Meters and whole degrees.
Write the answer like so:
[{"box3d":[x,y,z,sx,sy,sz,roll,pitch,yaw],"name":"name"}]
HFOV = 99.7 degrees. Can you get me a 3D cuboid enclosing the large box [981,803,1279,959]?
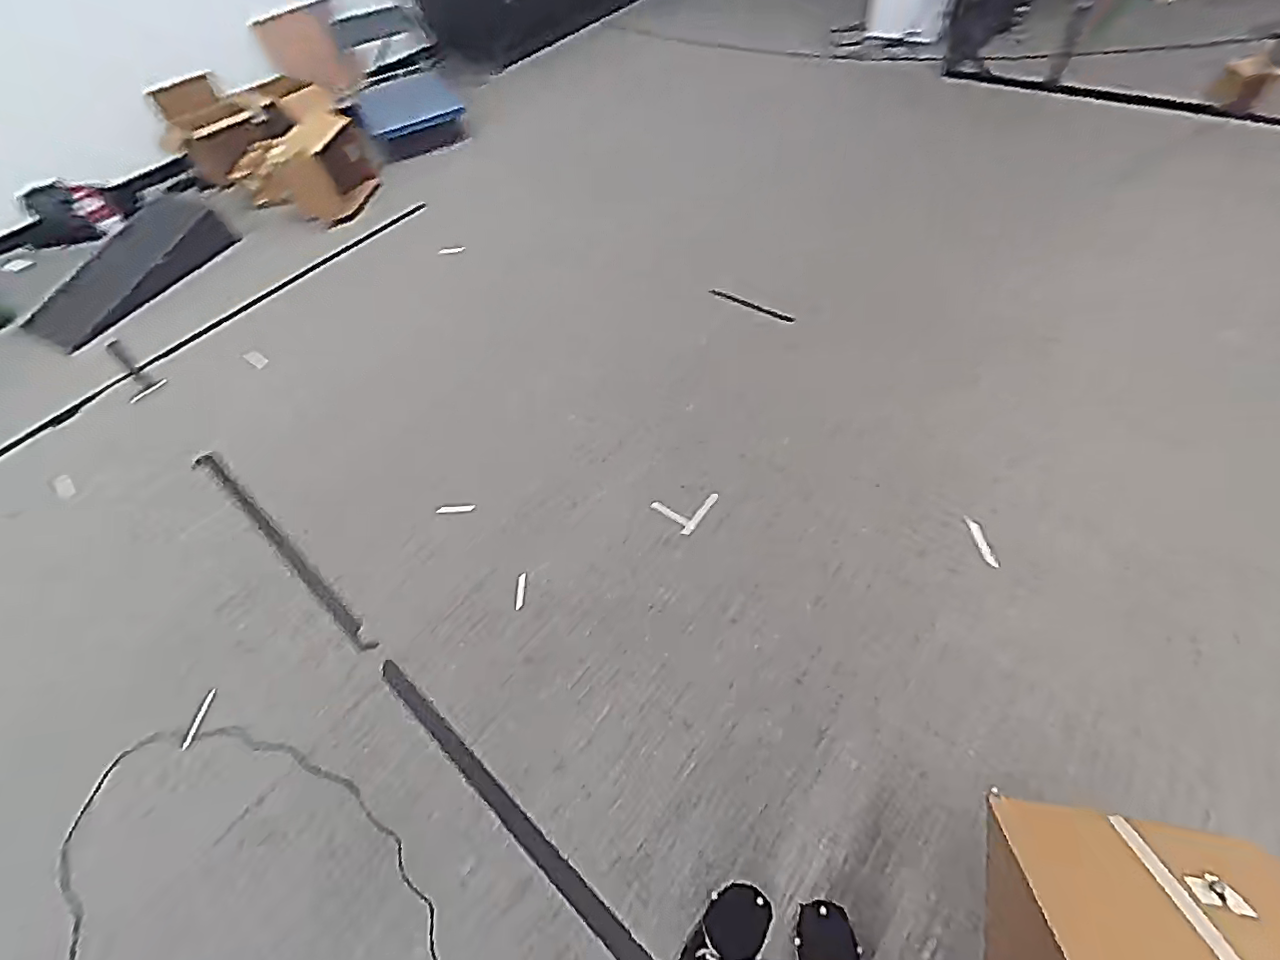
[{"box3d":[0.611,0.648,0.597,0.320,0.408,0.320,2,91,17],"name":"large box"}]
